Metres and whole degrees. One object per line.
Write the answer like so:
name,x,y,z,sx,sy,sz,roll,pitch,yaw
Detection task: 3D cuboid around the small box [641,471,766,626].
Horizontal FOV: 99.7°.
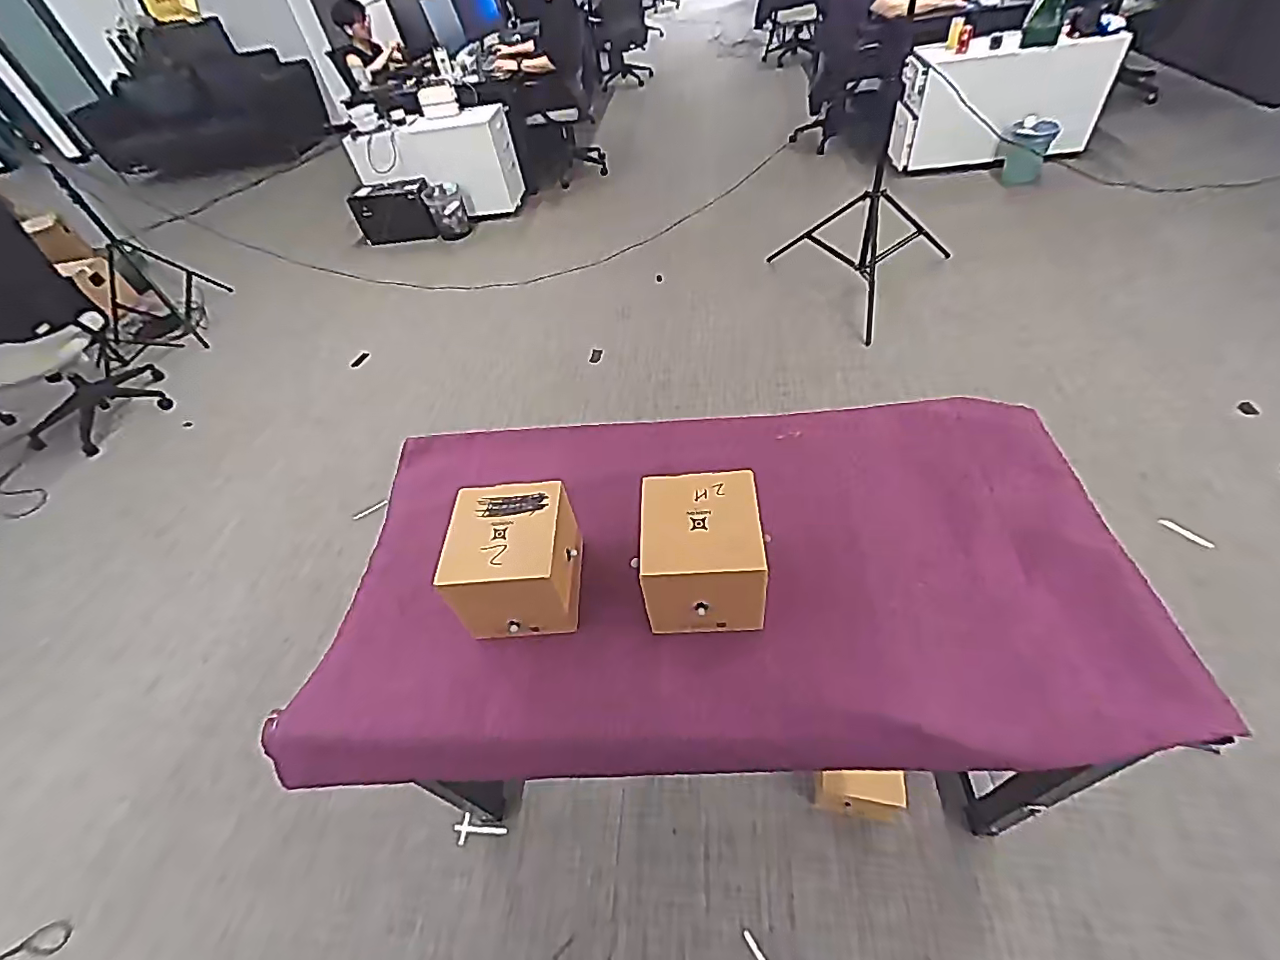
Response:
small box,0.096,0.108,0.811,0.168,0.176,0.179,-3,47,6

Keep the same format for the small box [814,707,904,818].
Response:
small box,0.496,0.652,1.243,0.168,0.176,0.179,4,49,14
